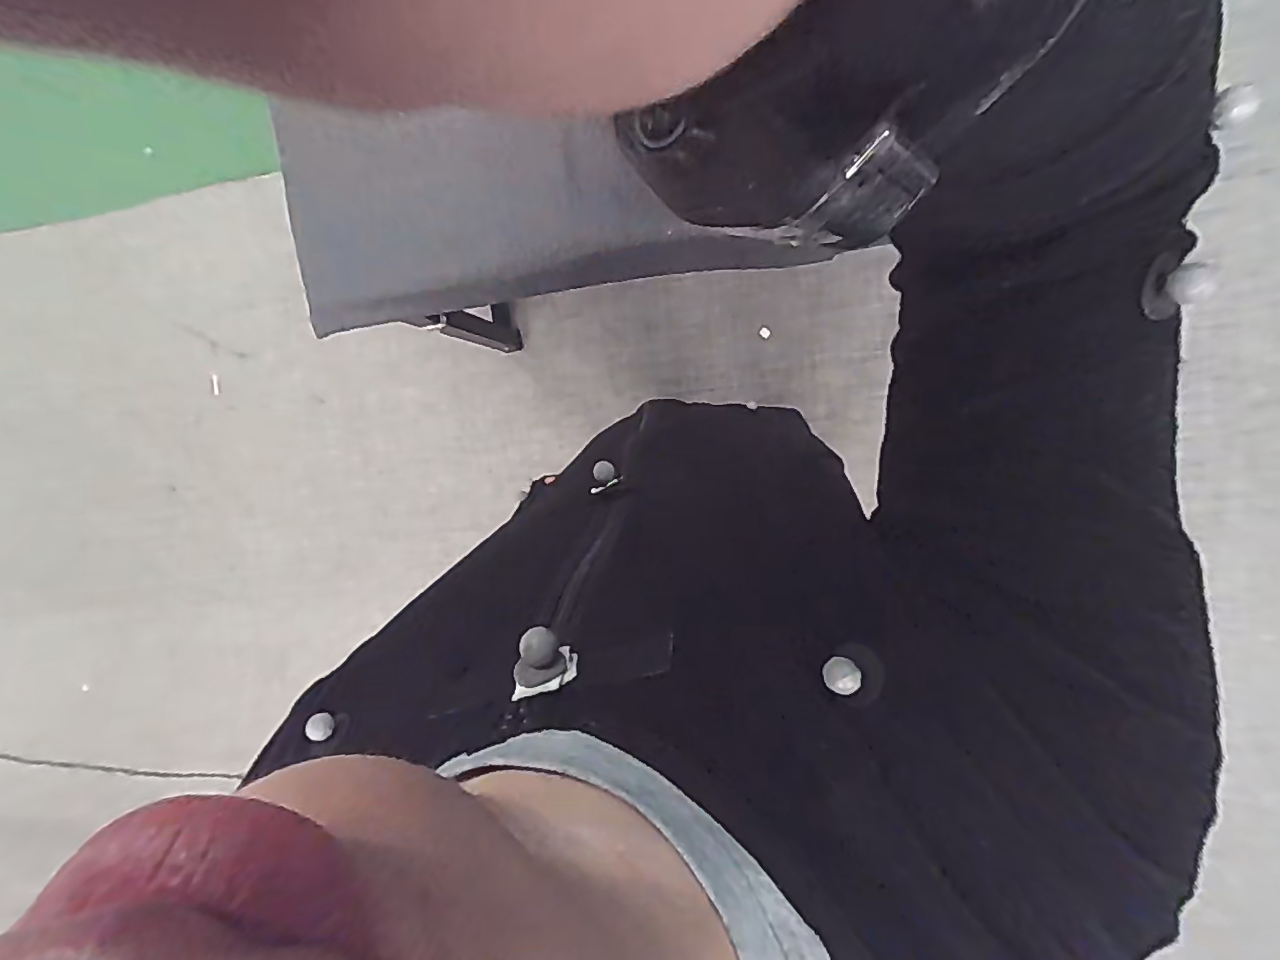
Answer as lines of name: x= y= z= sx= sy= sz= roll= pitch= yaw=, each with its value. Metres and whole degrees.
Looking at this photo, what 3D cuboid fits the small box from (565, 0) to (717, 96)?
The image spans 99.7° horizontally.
small box: x=0.000 y=-0.610 z=0.659 sx=0.168 sy=0.176 sz=0.179 roll=-9 pitch=93 yaw=10
